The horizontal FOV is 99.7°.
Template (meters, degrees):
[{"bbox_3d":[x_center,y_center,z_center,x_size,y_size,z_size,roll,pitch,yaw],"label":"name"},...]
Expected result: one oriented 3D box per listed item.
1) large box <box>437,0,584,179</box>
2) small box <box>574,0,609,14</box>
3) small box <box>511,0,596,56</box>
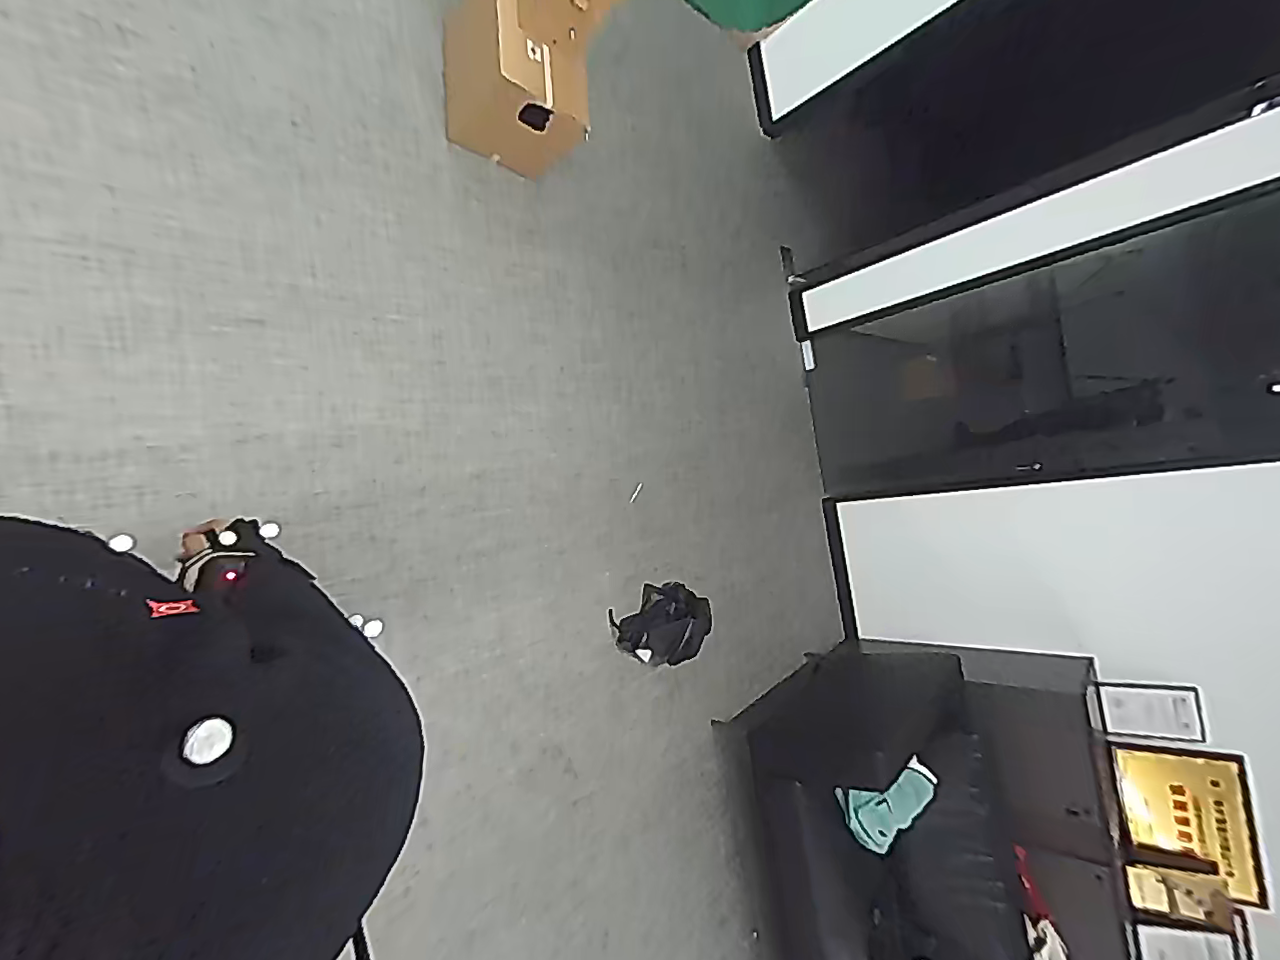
[{"bbox_3d":[-0.399,-1.235,1.652,0.320,0.320,0.408,0,85,-45],"label":"large box"},{"bbox_3d":[-0.129,-1.355,1.366,0.168,0.176,0.179,3,82,-47],"label":"small box"},{"bbox_3d":[-0.240,-1.330,1.482,0.168,0.176,0.179,0,82,-47],"label":"small box"}]
